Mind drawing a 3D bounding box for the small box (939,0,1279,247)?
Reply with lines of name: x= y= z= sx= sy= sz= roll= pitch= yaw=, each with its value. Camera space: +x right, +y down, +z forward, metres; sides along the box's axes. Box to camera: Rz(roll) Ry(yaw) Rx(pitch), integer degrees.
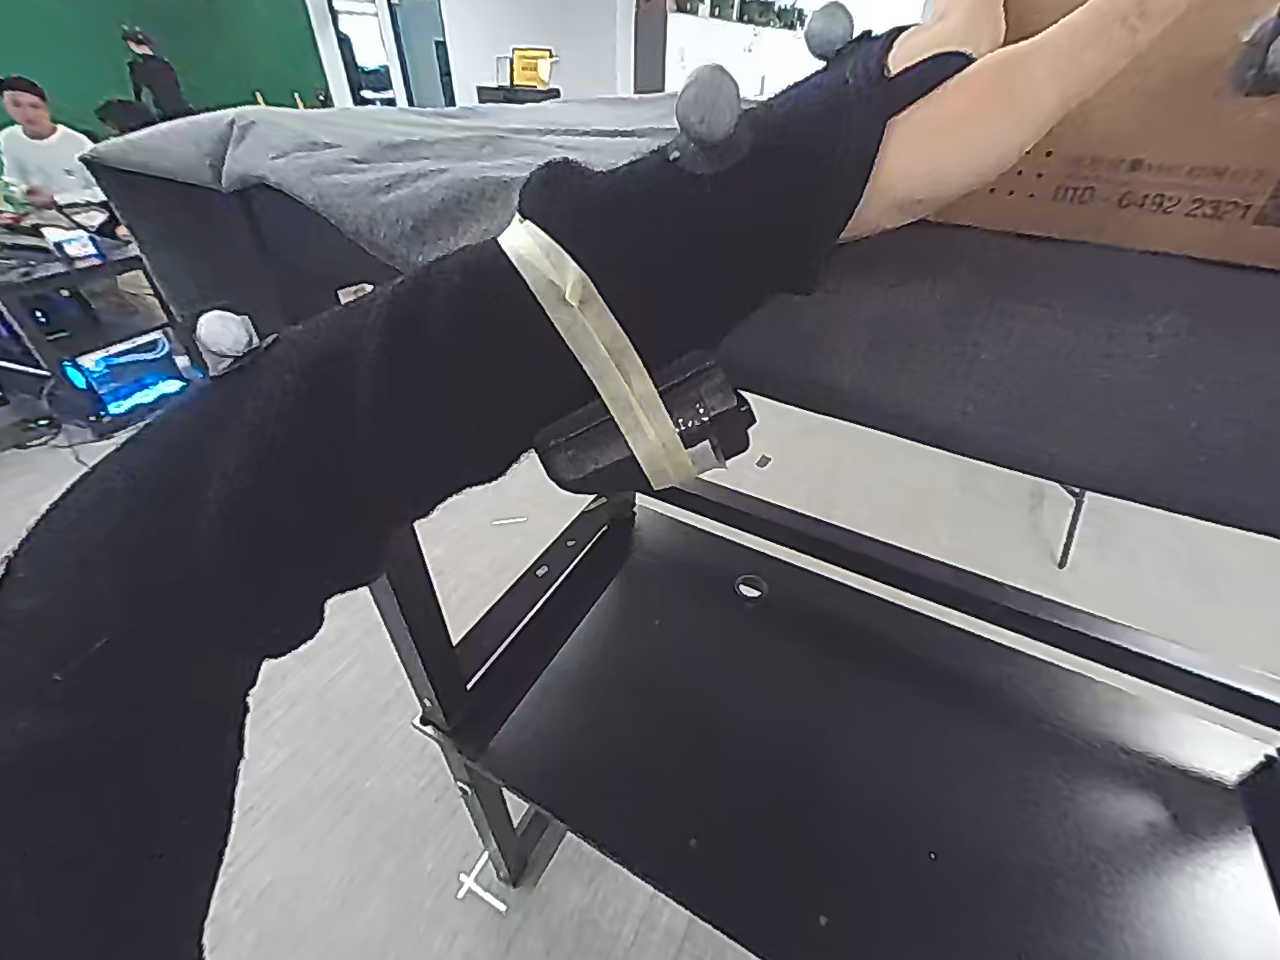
small box: x=0.229 y=-0.192 z=0.194 sx=0.168 sy=0.176 sz=0.179 roll=20 pitch=40 yaw=22
